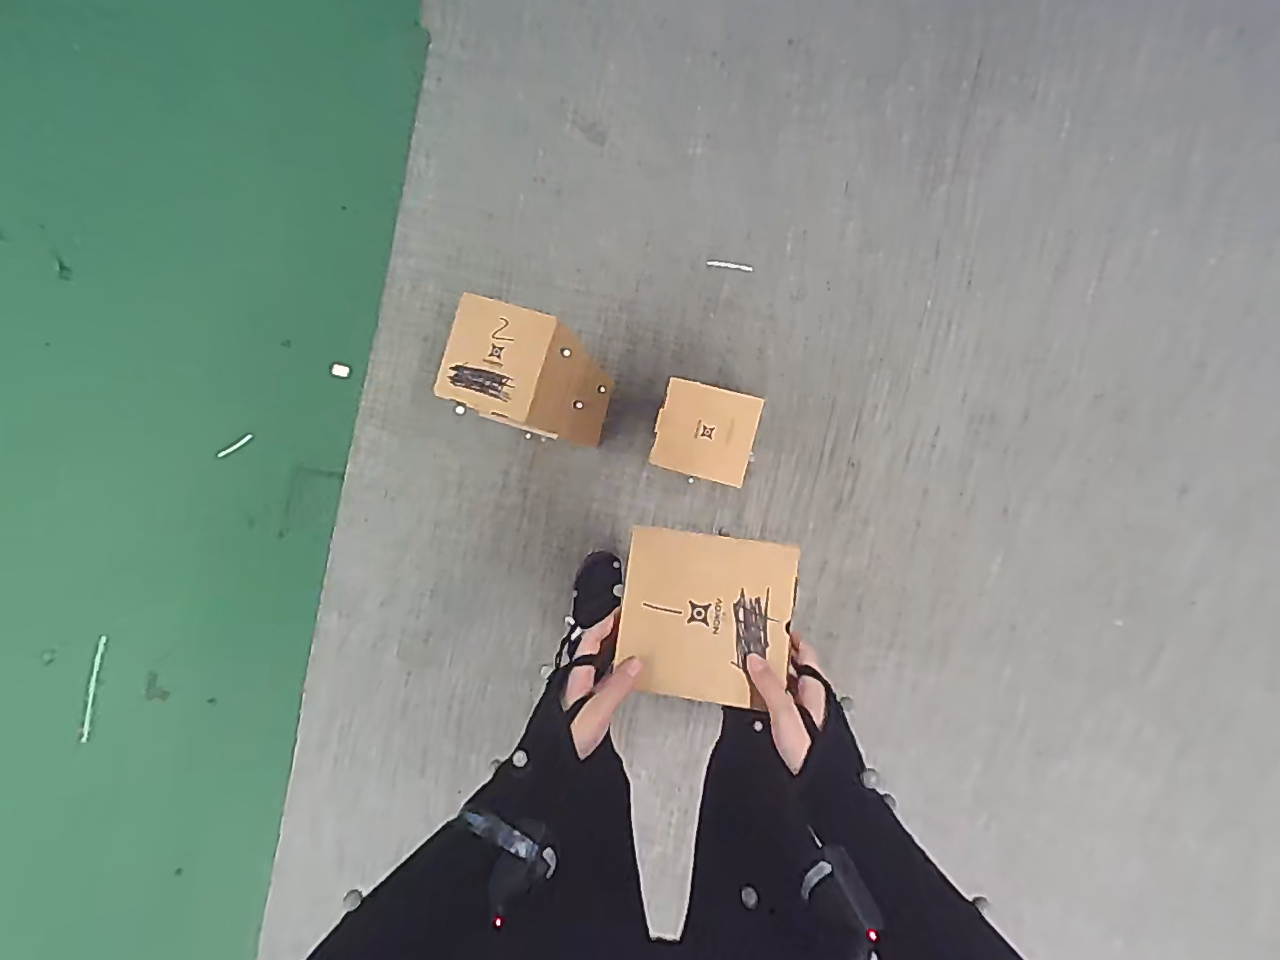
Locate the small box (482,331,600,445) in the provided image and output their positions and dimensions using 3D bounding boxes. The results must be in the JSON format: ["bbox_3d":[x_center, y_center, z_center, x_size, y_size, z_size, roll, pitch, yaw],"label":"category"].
[{"bbox_3d":[-0.192,-0.178,1.102,0.168,0.176,0.179,17,91,8],"label":"small box"}]

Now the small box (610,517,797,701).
[{"bbox_3d":[0.069,0.142,0.635,0.179,0.176,0.168,8,81,3],"label":"small box"}]

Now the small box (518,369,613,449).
[{"bbox_3d":[-0.172,-0.178,1.265,0.168,0.176,0.179,16,91,9],"label":"small box"}]

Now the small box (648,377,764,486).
[{"bbox_3d":[0.129,-0.086,1.051,0.179,0.176,0.168,15,92,8],"label":"small box"}]
